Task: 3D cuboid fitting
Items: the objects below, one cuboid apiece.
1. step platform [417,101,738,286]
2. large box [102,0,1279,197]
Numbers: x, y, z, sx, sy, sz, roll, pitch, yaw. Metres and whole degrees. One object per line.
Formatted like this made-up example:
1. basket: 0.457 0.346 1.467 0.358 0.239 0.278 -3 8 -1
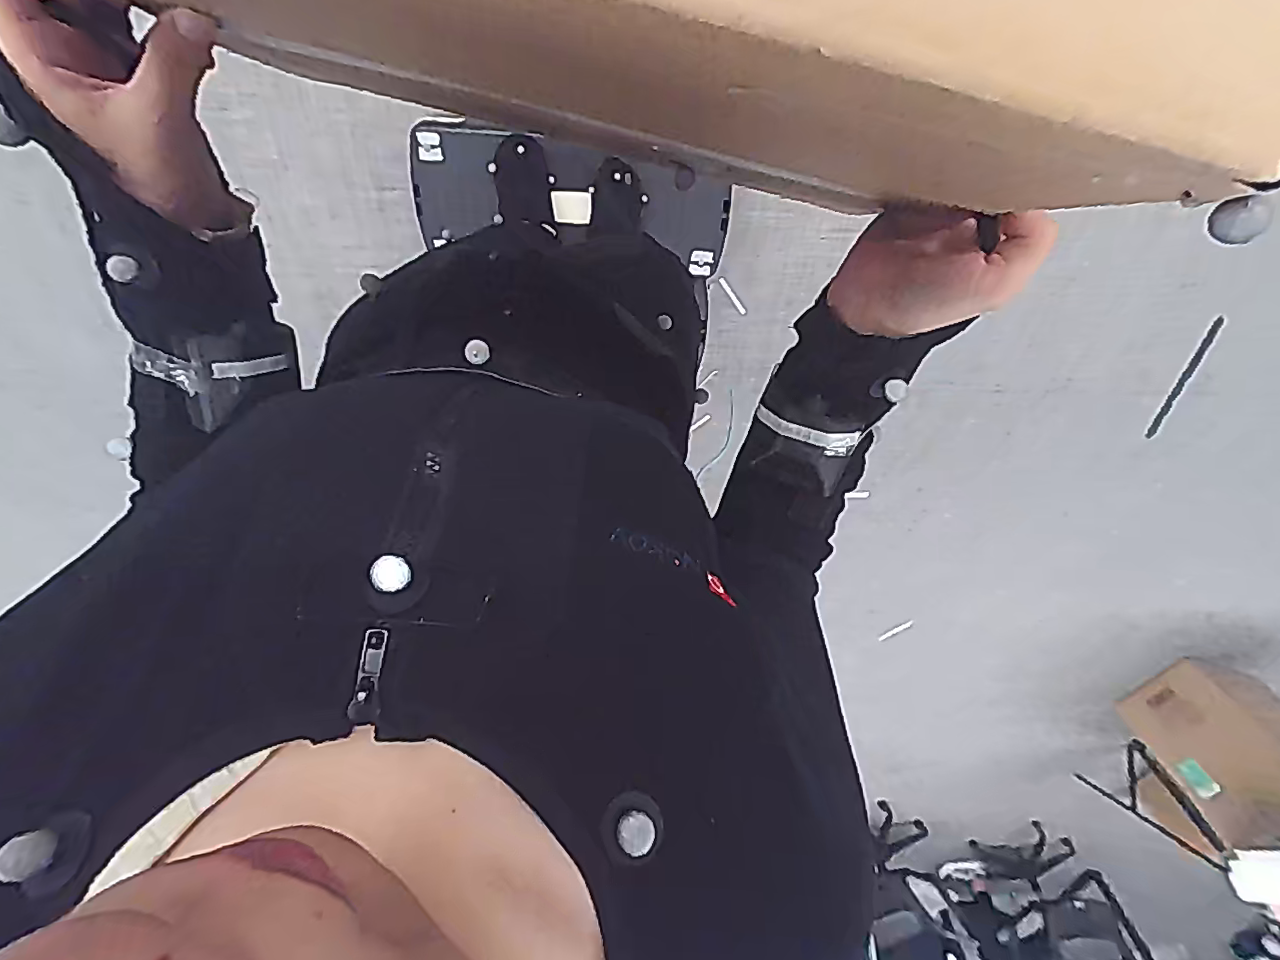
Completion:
1. step platform: -0.131 -0.631 1.209 0.684 0.204 0.286 5 125 -6
2. large box: -0.017 -0.314 0.183 0.408 0.320 0.320 10 117 -5
